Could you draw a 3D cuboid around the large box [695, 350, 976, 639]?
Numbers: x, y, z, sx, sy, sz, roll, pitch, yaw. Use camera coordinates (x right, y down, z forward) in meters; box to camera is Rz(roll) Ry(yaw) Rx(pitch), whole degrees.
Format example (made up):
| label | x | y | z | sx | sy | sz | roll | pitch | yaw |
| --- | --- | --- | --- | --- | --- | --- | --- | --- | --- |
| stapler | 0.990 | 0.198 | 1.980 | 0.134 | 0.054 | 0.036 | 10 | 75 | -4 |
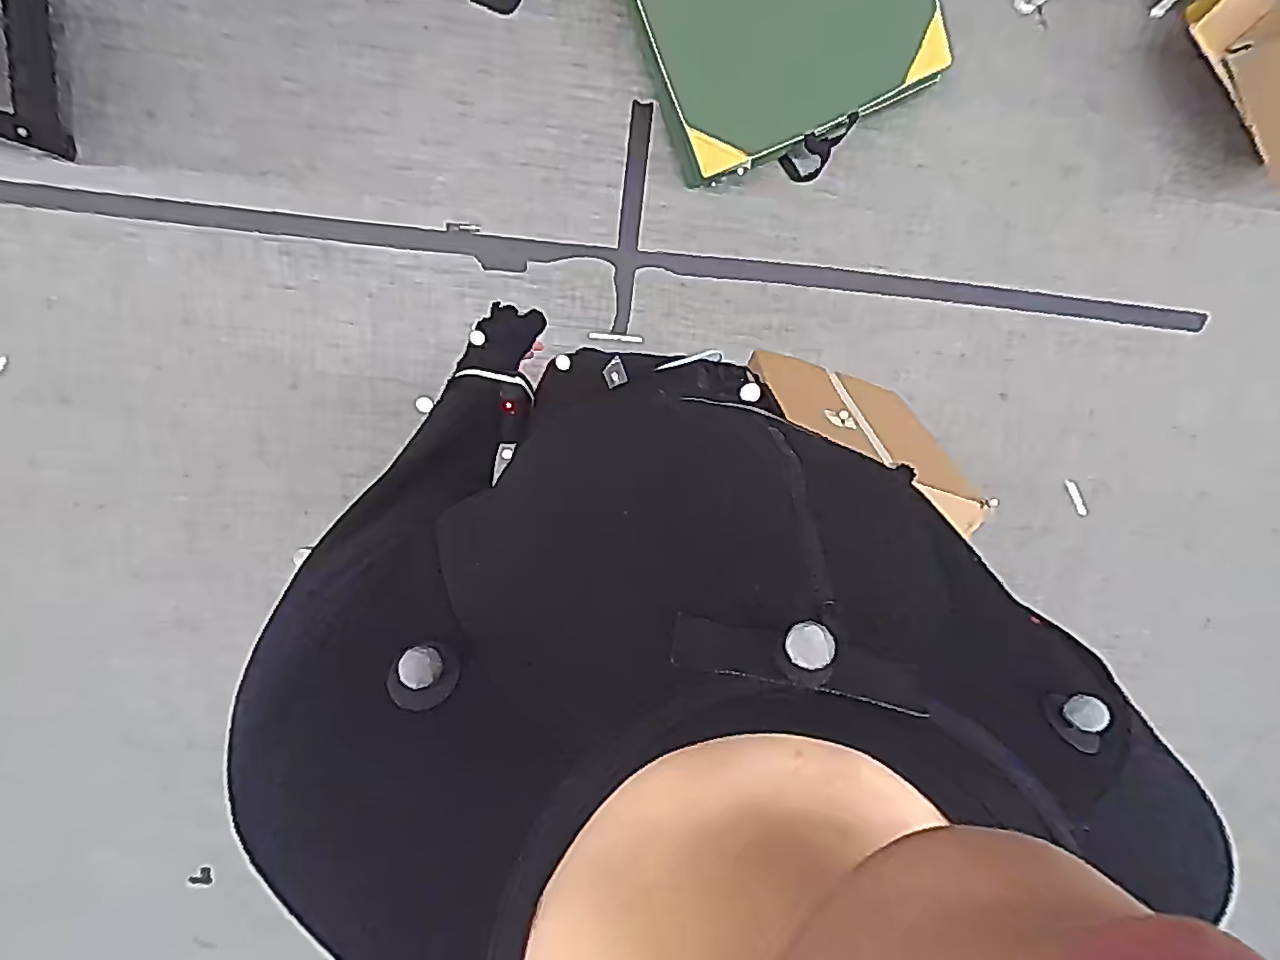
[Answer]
| label | x | y | z | sx | sy | sz | roll | pitch | yaw |
| --- | --- | --- | --- | --- | --- | --- | --- | --- | --- |
| large box | 0.302 | 0.011 | 0.998 | 0.320 | 0.408 | 0.320 | 16 | 123 | -6 |
